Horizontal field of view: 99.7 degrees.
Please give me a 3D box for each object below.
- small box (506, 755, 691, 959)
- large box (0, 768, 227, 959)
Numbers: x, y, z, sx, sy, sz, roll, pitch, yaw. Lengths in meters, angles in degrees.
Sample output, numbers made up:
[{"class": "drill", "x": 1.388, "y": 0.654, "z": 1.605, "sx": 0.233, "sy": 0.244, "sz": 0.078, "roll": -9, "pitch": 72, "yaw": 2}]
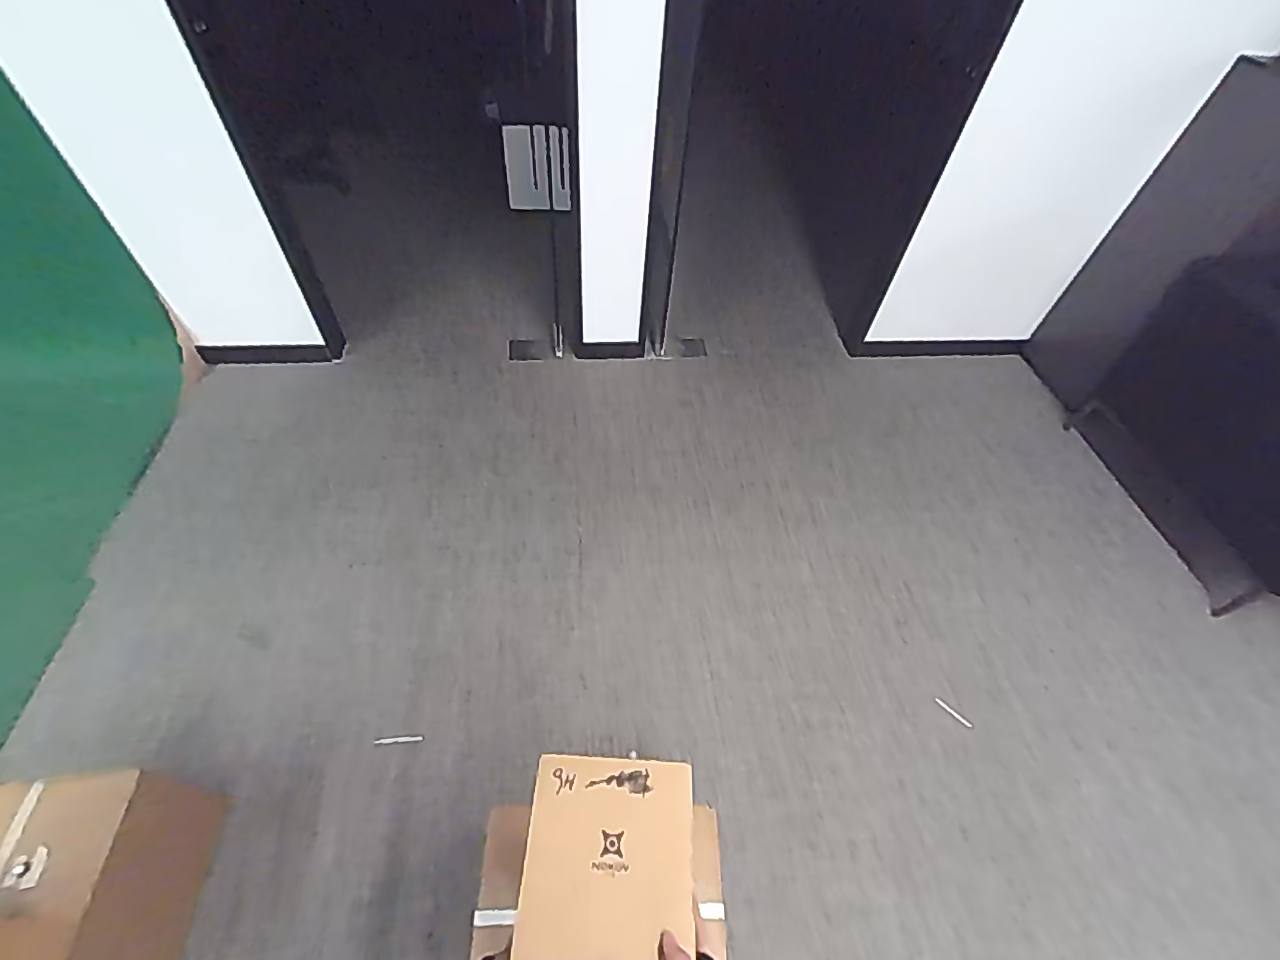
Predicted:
[{"class": "small box", "x": -0.036, "y": 0.420, "z": 0.586, "sx": 0.168, "sy": 0.176, "sz": 0.179, "roll": 5, "pitch": 49, "yaw": -1}, {"class": "large box", "x": -1.027, "y": 0.776, "z": 0.944, "sx": 0.320, "sy": 0.320, "sz": 0.408, "roll": -3, "pitch": 50, "yaw": -8}]
